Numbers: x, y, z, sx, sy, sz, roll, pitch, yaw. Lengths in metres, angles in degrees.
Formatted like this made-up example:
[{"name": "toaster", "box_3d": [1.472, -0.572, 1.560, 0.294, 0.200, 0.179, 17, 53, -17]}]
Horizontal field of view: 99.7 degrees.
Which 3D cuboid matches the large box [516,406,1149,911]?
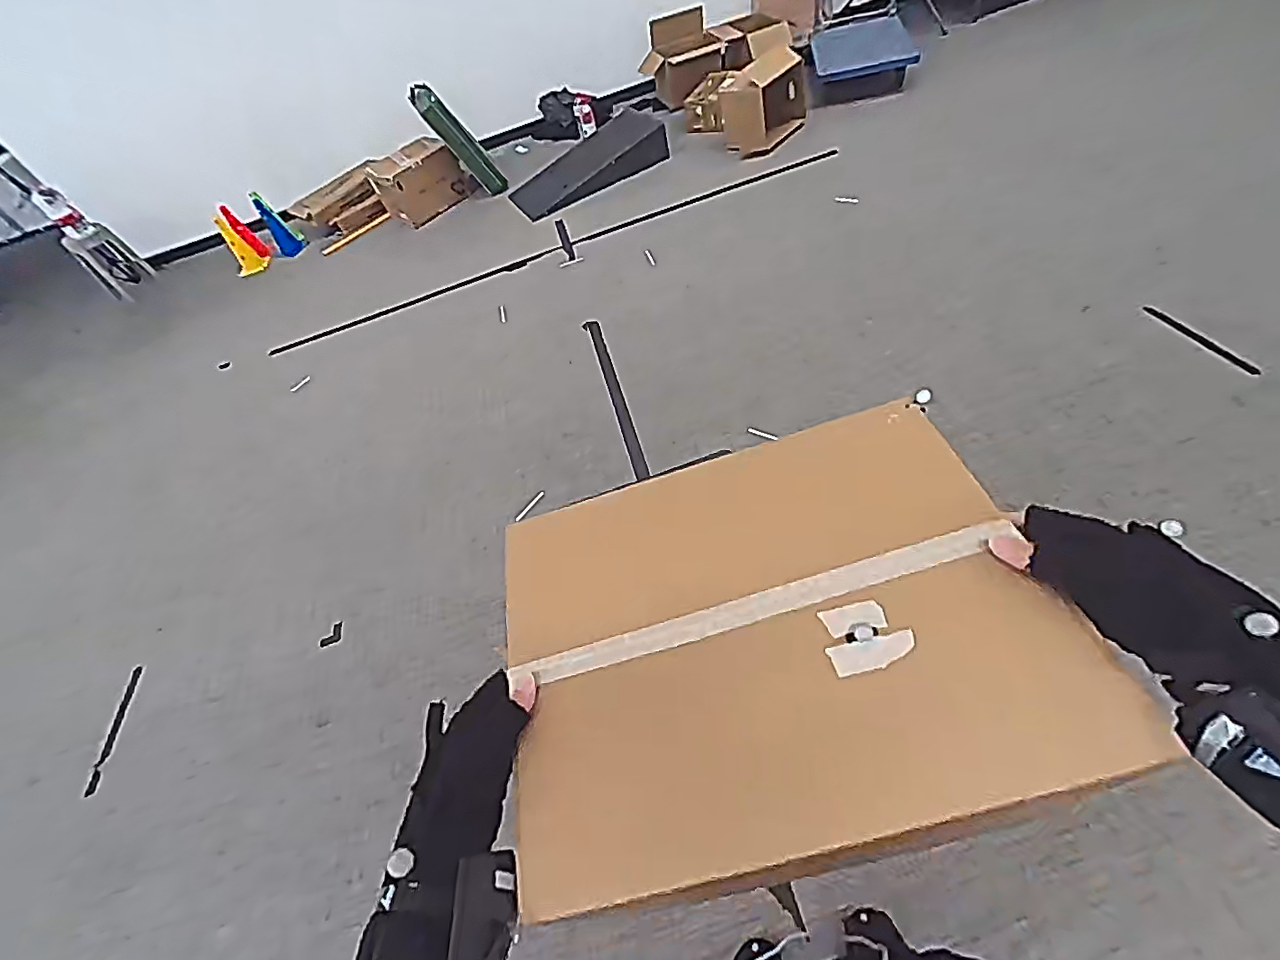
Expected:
[{"name": "large box", "box_3d": [0.129, 0.192, 0.545, 0.408, 0.320, 0.320, -18, 51, 4]}]
